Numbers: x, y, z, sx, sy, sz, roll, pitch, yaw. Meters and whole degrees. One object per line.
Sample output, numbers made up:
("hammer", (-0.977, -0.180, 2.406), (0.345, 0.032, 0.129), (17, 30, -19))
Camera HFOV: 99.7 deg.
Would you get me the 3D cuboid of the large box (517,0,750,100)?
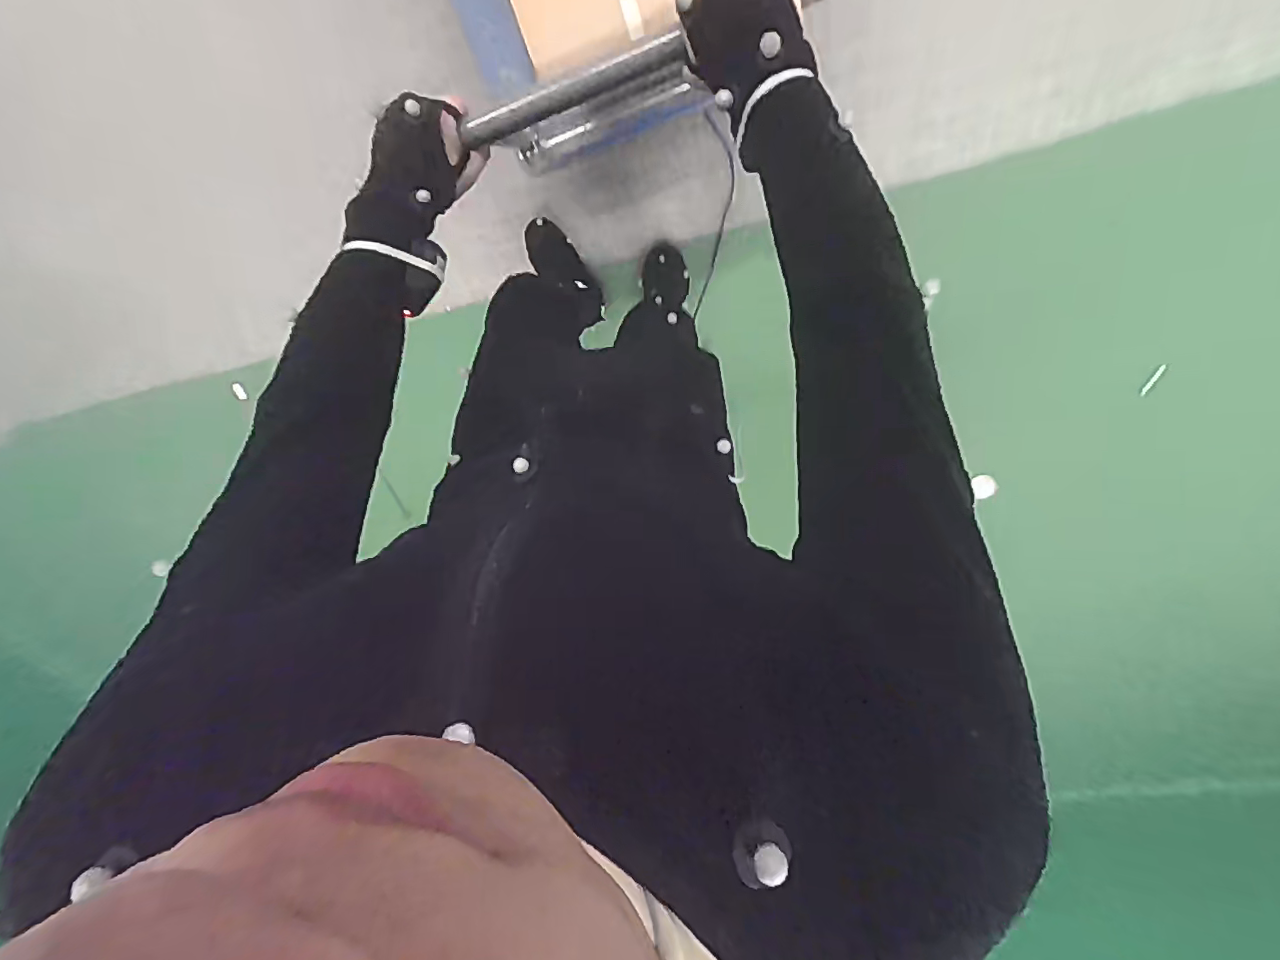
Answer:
("large box", (-0.042, -0.856, 0.802), (0.320, 0.320, 0.408), (-14, 121, 13))
